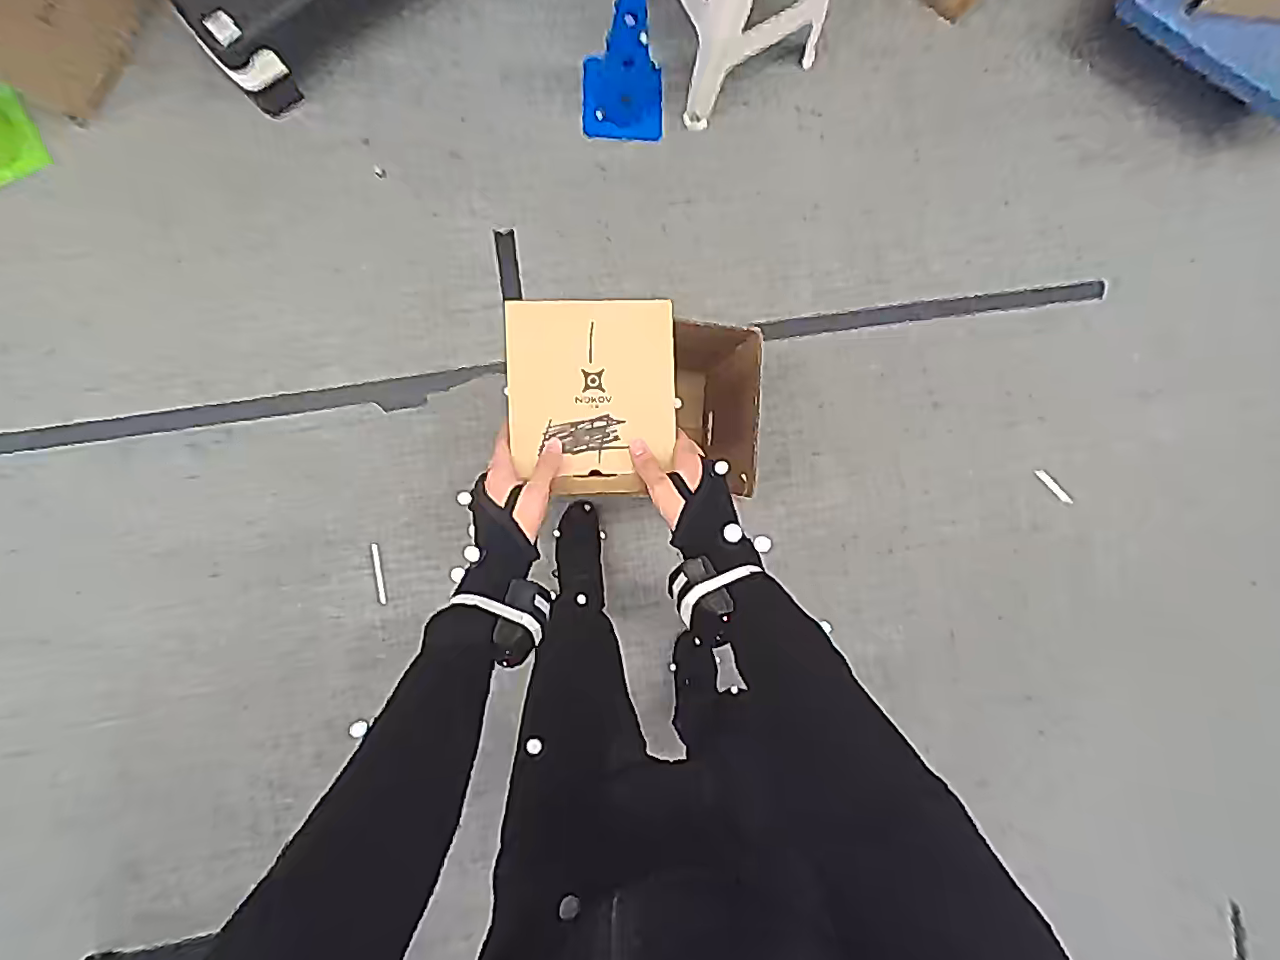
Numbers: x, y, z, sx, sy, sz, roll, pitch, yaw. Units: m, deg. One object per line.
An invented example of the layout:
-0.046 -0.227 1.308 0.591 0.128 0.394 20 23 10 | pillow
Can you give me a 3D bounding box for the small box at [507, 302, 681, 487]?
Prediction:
-0.048 -0.087 0.600 0.168 0.176 0.179 -3 92 -4 | small box
